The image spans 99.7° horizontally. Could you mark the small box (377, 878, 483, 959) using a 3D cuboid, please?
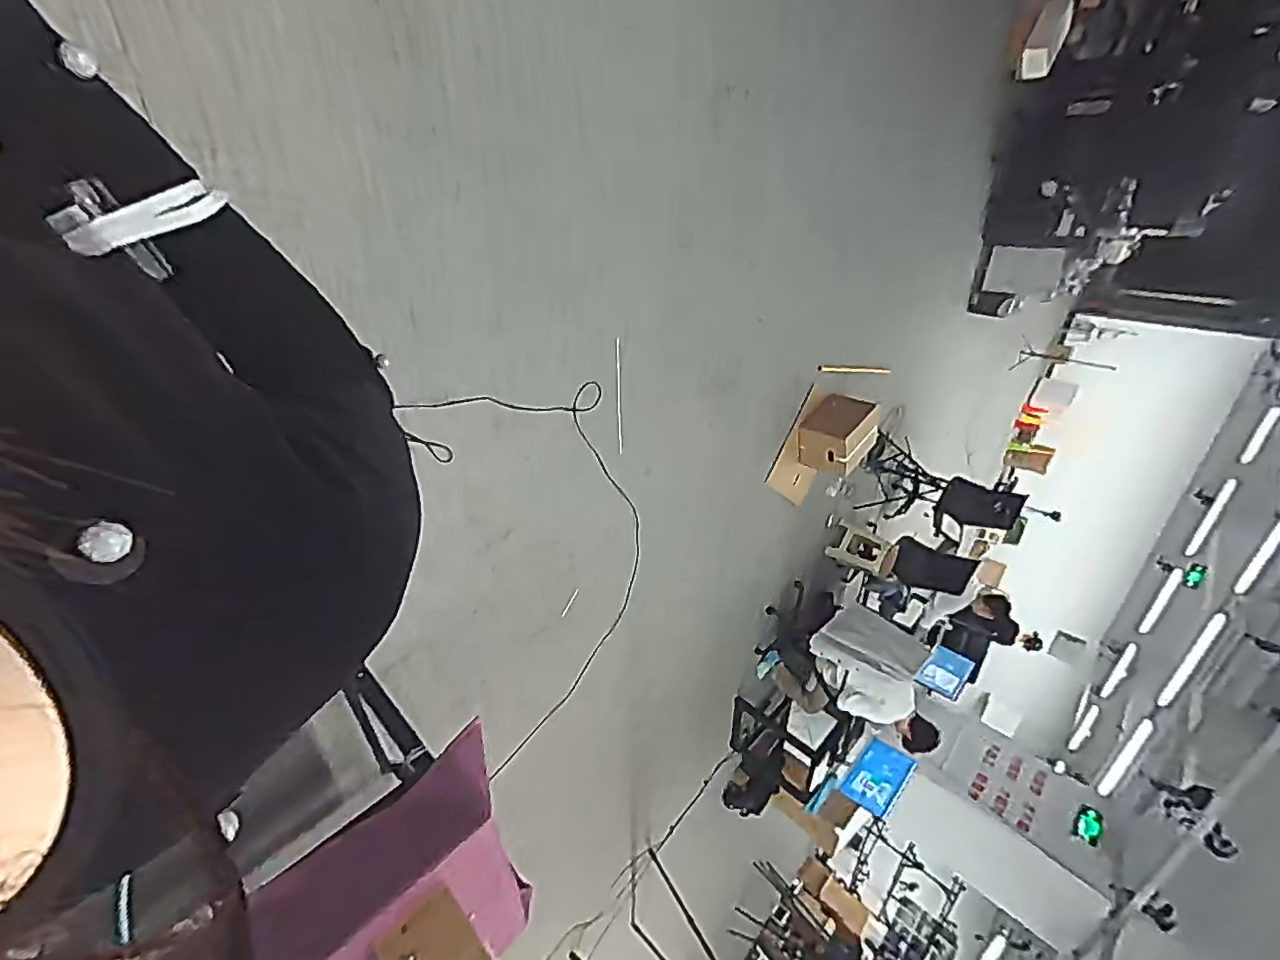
[{"bbox_3d":[-0.448,1.031,1.187,0.168,0.176,0.179,-30,132,-35],"label":"small box"}]

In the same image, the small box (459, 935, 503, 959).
[{"bbox_3d":[-0.329,1.086,1.092,0.179,0.176,0.168,-31,132,-34],"label":"small box"}]
